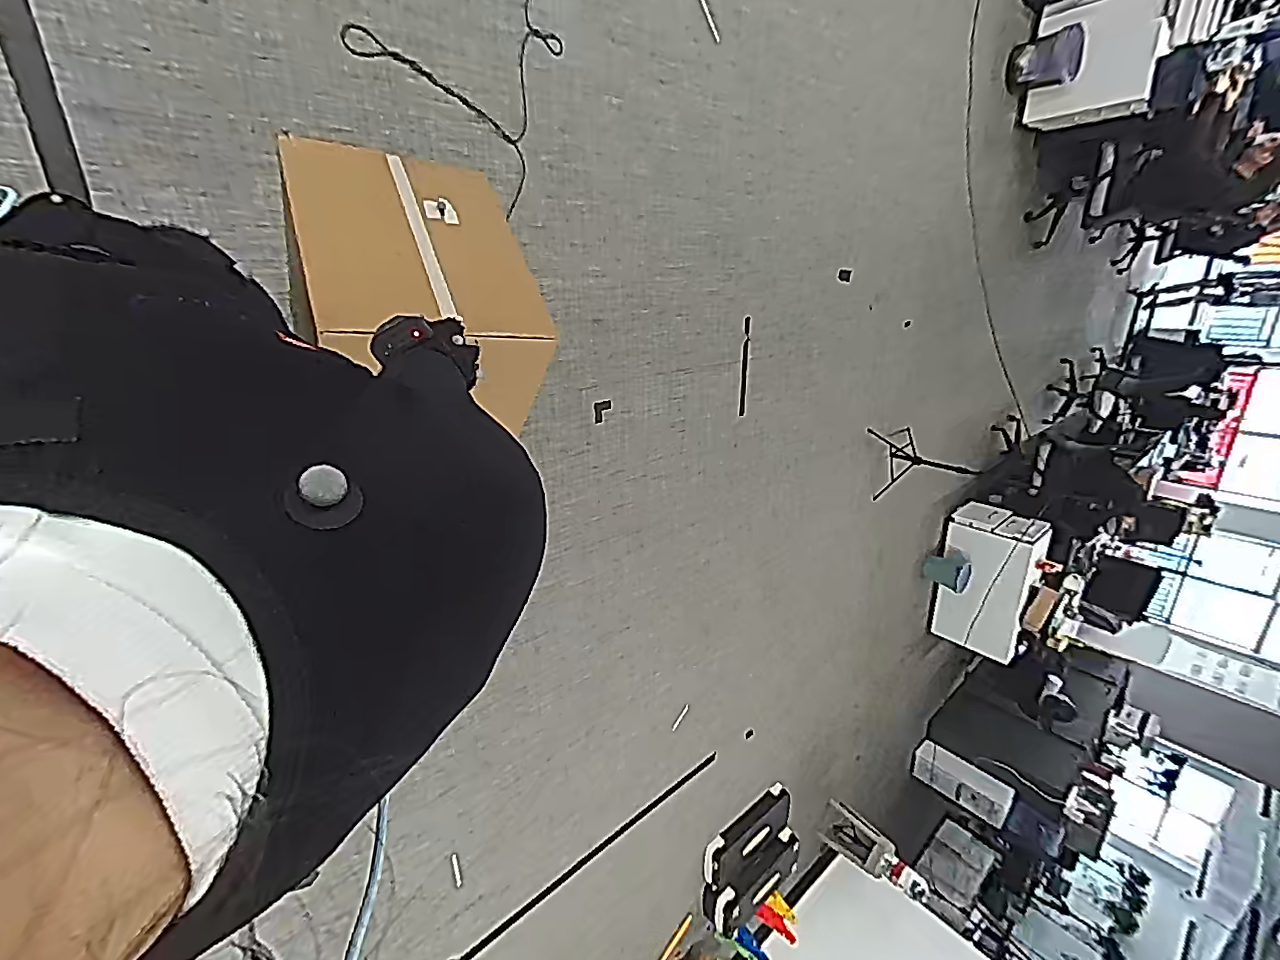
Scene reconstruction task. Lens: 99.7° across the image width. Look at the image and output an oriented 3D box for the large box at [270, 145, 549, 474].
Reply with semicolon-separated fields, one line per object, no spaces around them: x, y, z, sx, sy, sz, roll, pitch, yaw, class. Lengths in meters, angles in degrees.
-0.402;-0.270;0.912;0.320;0.408;0.320;-8;149;-36;large box
